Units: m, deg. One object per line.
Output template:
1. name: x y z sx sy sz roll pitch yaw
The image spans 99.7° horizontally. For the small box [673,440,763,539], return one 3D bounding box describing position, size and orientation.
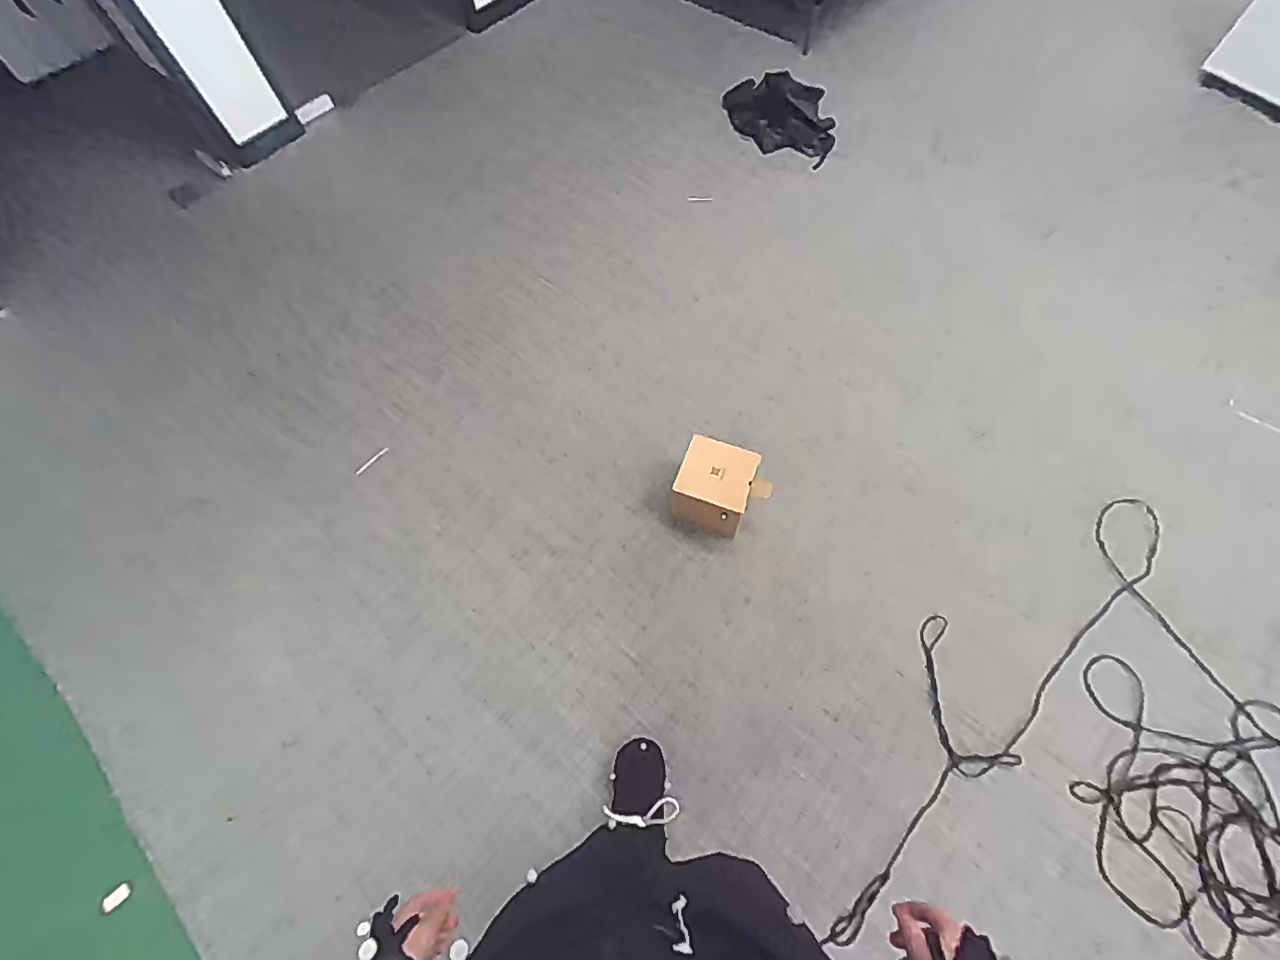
1. small box: 0.188 0.029 1.349 0.179 0.176 0.168 19 66 10
